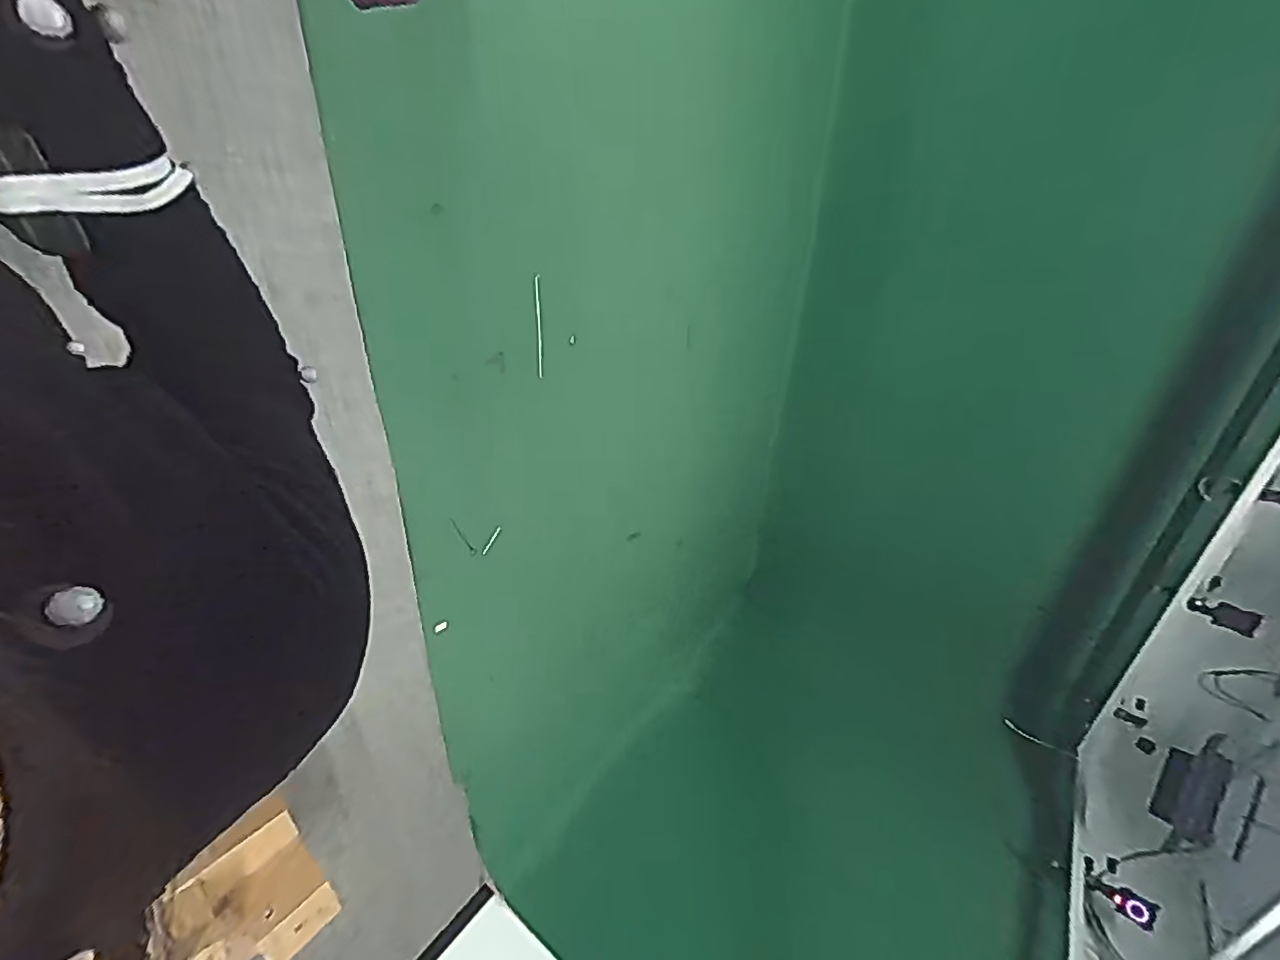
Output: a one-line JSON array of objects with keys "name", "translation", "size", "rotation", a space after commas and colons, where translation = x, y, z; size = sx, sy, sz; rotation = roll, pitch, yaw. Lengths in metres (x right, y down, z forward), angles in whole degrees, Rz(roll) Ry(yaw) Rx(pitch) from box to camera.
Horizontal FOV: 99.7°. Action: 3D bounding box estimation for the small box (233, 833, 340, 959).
[{"name": "small box", "translation": [-0.934, 1.091, 1.424], "size": [0.179, 0.176, 0.168], "rotation": [-32, 136, -45]}]
